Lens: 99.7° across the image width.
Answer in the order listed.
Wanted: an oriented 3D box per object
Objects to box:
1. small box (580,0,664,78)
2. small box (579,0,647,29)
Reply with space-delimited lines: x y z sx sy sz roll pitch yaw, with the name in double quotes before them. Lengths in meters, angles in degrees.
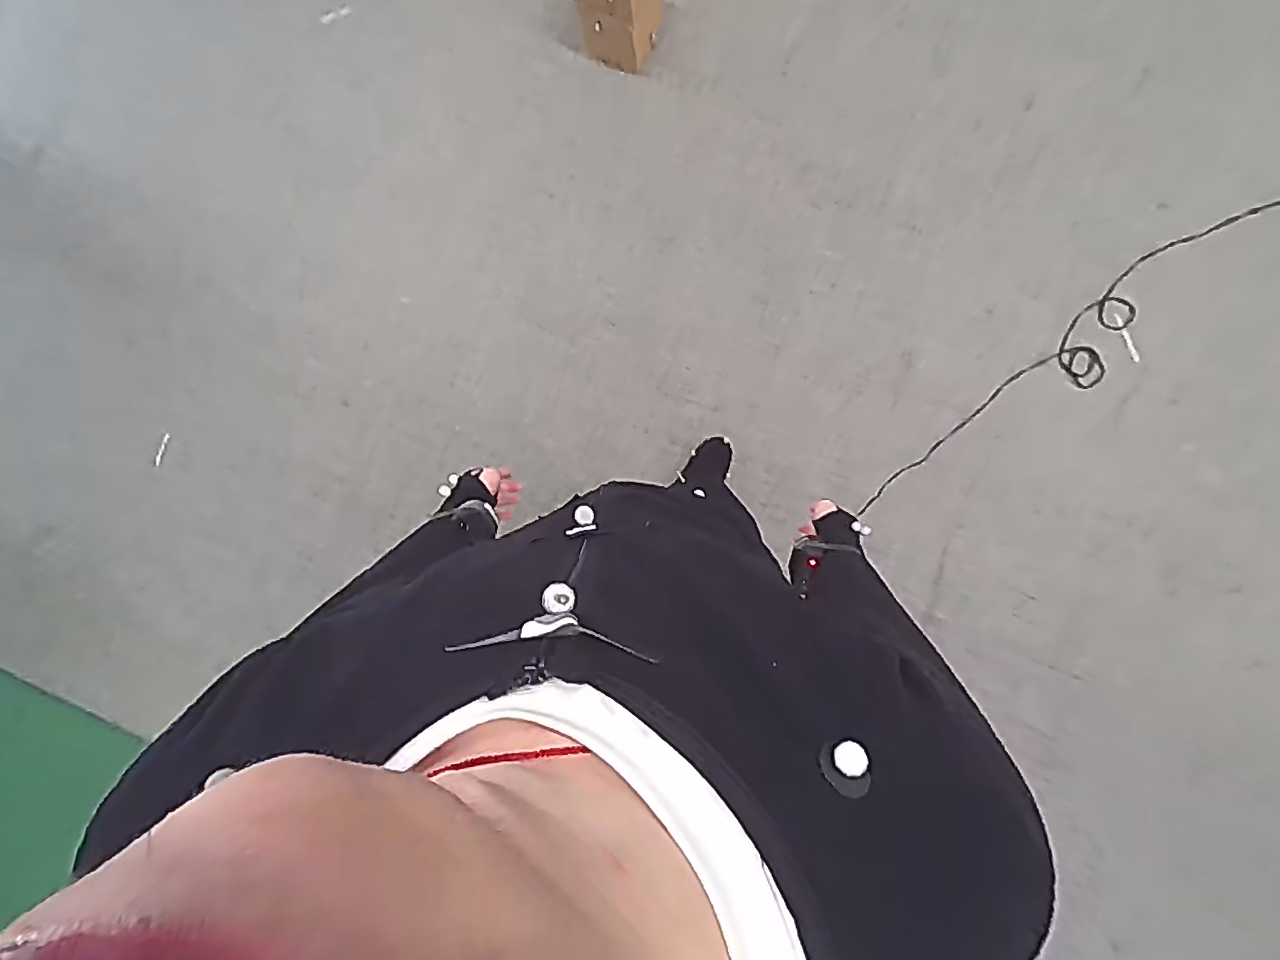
"small box" -0.042 -1.248 1.459 0.168 0.176 0.179 24 92 5
"small box" -0.059 -1.248 1.298 0.168 0.176 0.179 22 91 4
